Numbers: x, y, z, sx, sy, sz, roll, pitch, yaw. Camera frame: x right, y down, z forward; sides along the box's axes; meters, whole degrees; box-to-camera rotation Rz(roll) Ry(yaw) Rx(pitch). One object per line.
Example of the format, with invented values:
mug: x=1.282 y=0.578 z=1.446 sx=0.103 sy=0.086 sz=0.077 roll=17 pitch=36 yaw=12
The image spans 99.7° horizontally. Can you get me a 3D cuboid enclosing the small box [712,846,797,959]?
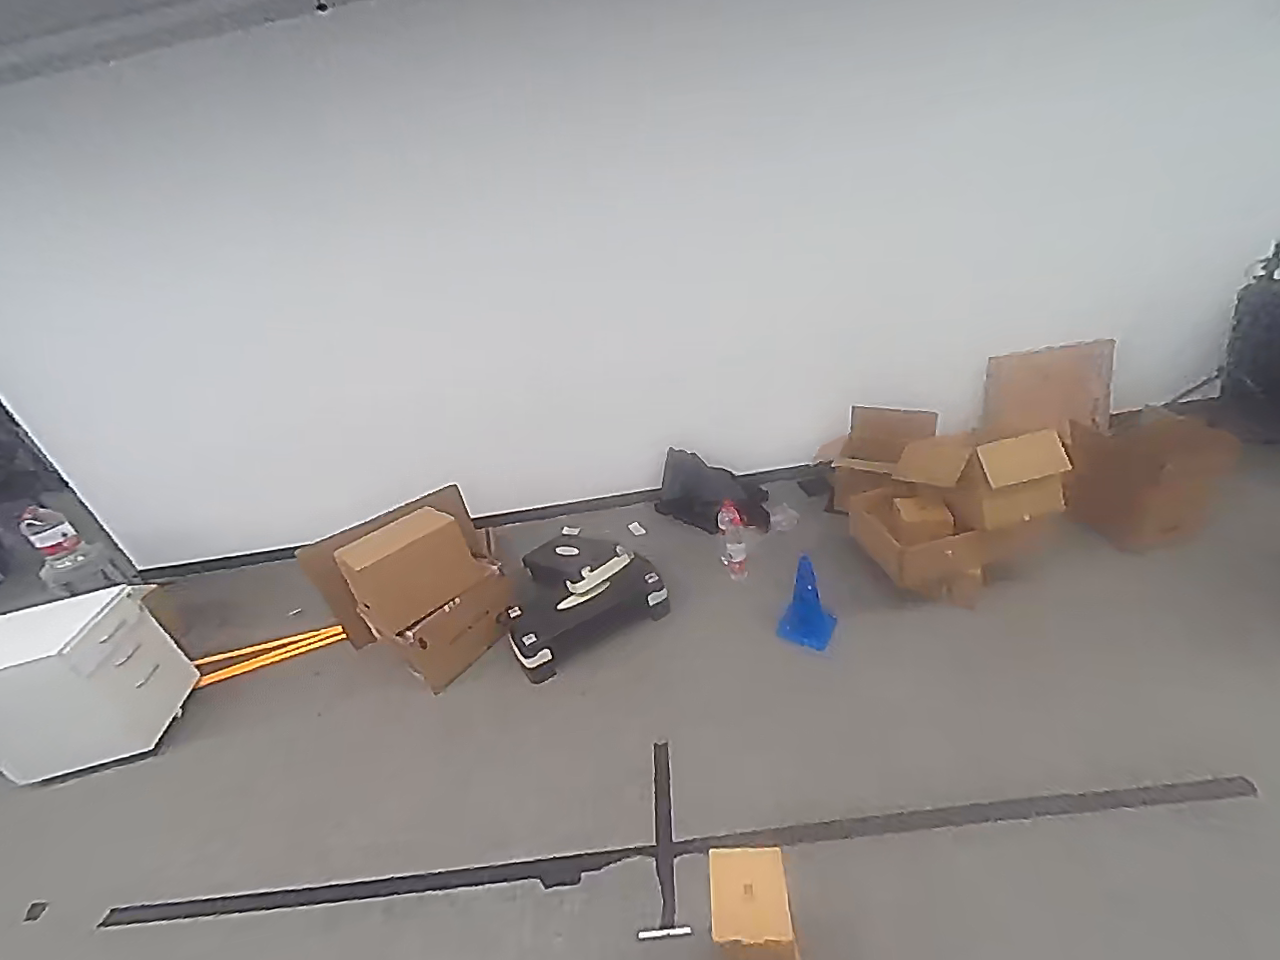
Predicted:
small box: x=0.252 y=0.954 z=1.207 sx=0.168 sy=0.176 sz=0.179 roll=-6 pitch=31 yaw=8
